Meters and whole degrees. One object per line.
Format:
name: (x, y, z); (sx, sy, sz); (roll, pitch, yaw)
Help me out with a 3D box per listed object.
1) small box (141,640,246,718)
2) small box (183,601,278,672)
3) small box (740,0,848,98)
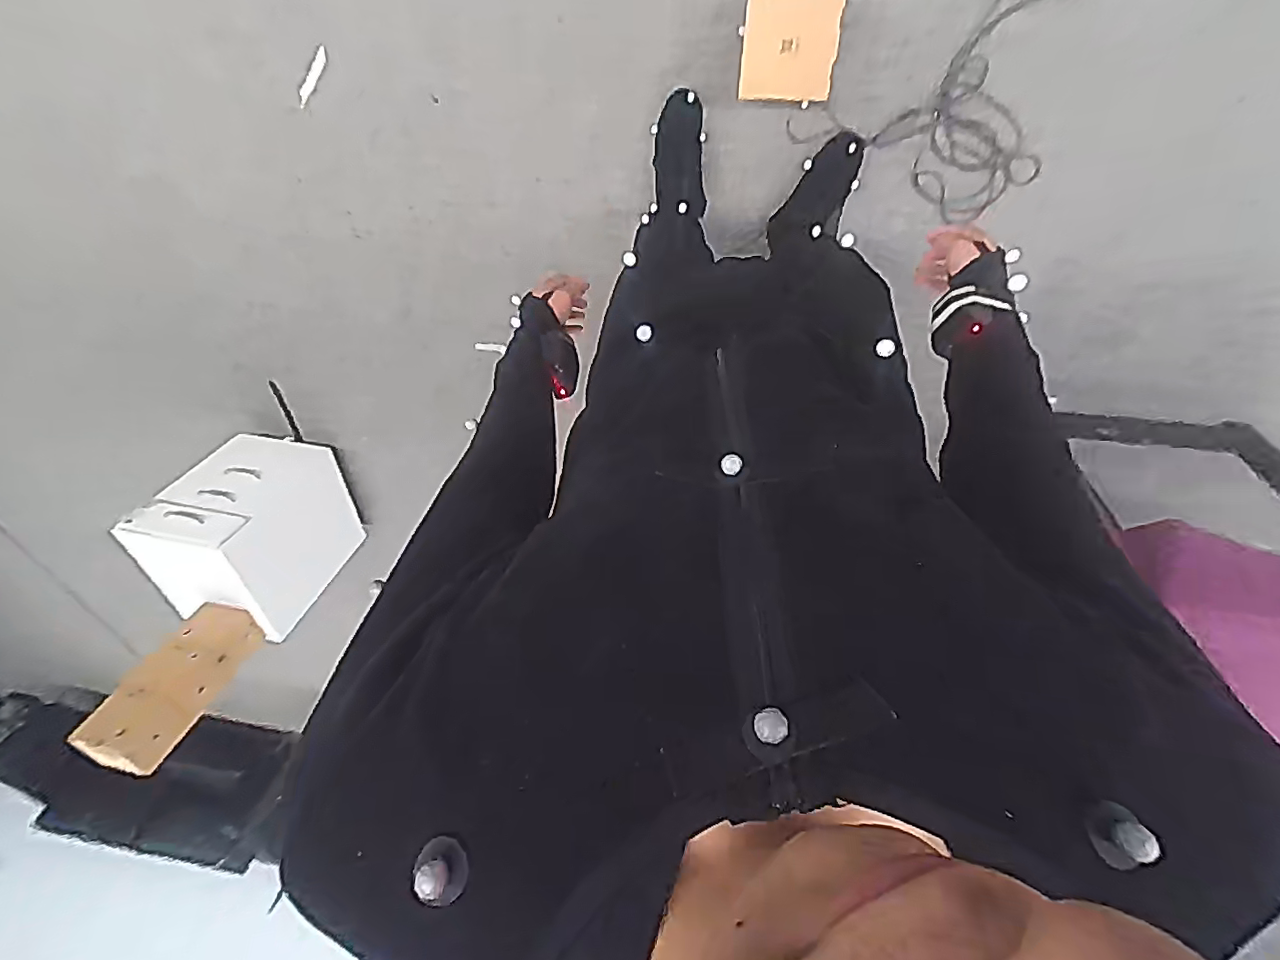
small box: (-1.484, 0.662, 1.810); (0.168, 0.176, 0.179); (9, 132, 9)
small box: (-1.456, 0.557, 1.933); (0.179, 0.176, 0.168); (8, 131, 9)
small box: (0.297, -0.858, 1.061); (0.179, 0.176, 0.168); (6, 130, 8)
